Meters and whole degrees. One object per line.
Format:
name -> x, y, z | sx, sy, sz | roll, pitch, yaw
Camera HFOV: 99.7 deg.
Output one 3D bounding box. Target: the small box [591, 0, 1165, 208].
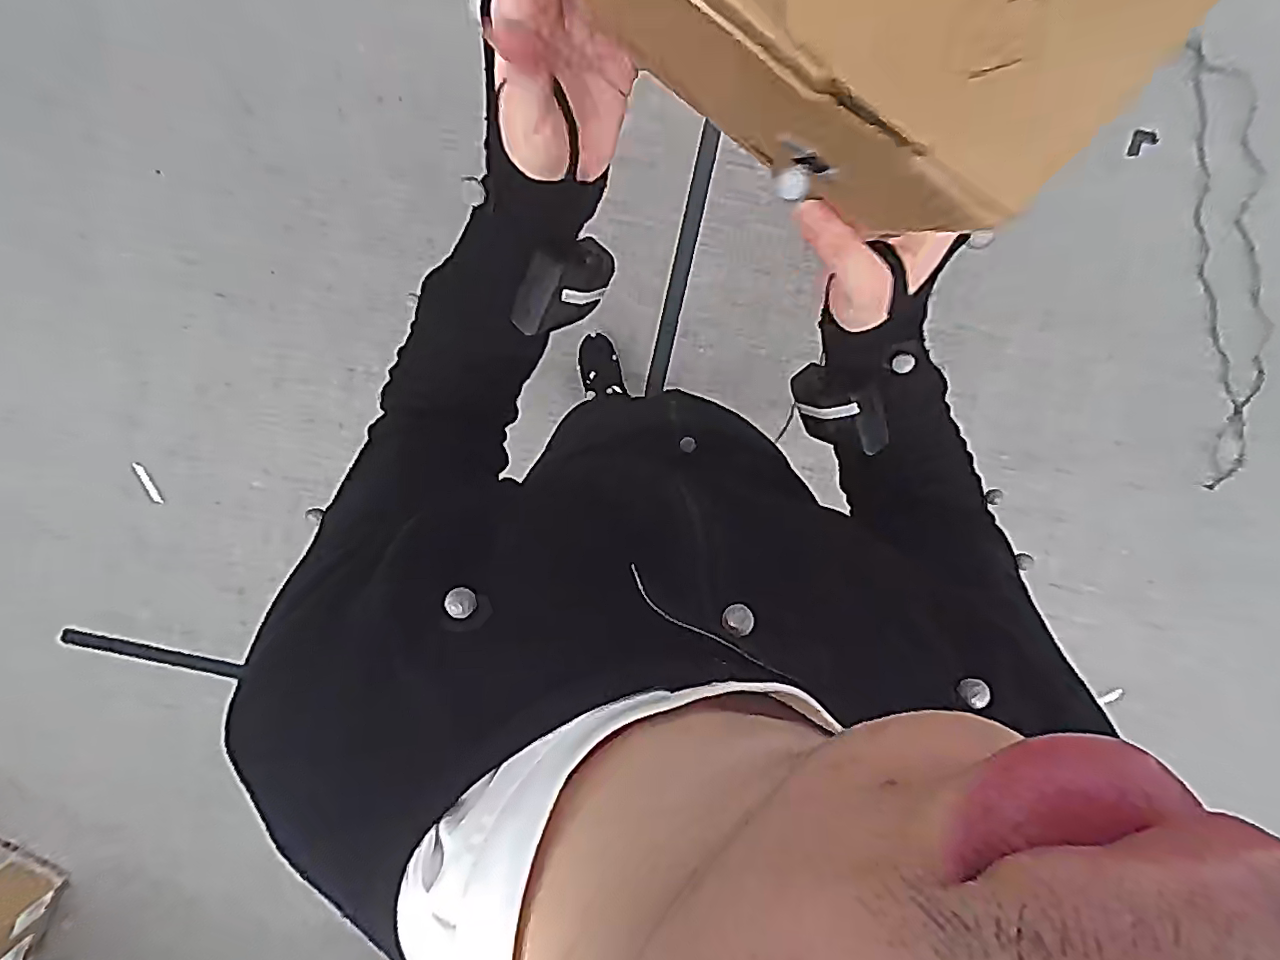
small box -> 0.080, -0.212, 0.173 | 0.168, 0.176, 0.179 | 31, 113, -9
